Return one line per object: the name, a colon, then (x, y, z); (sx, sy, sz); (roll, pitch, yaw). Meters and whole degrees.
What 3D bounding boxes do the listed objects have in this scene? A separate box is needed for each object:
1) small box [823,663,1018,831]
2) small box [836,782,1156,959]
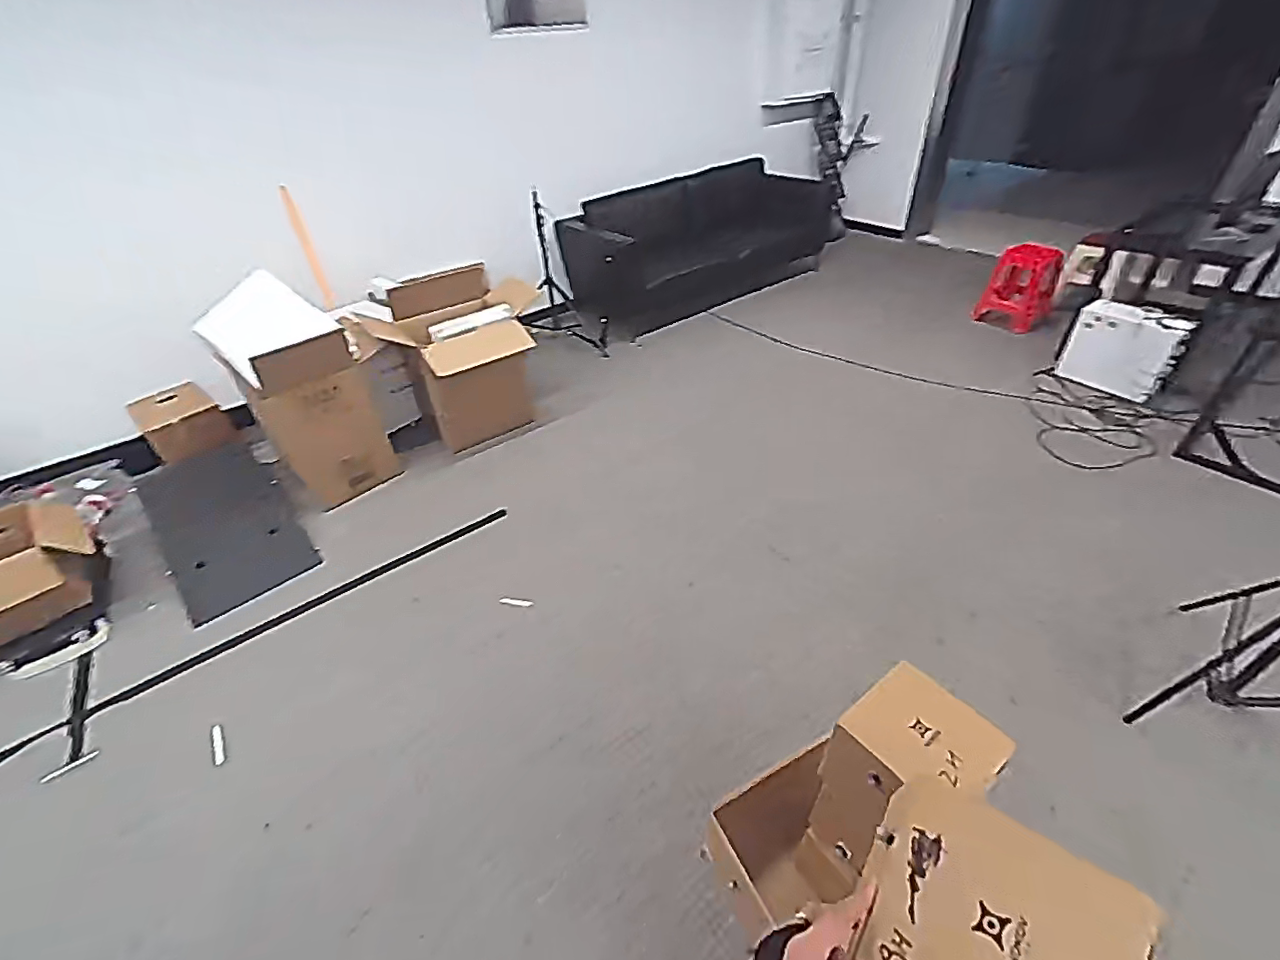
small box: (0.395, 0.416, 0.792); (0.168, 0.176, 0.179); (-26, 44, -26)
small box: (0.293, 0.403, 0.480); (0.179, 0.176, 0.168); (23, 64, 28)
